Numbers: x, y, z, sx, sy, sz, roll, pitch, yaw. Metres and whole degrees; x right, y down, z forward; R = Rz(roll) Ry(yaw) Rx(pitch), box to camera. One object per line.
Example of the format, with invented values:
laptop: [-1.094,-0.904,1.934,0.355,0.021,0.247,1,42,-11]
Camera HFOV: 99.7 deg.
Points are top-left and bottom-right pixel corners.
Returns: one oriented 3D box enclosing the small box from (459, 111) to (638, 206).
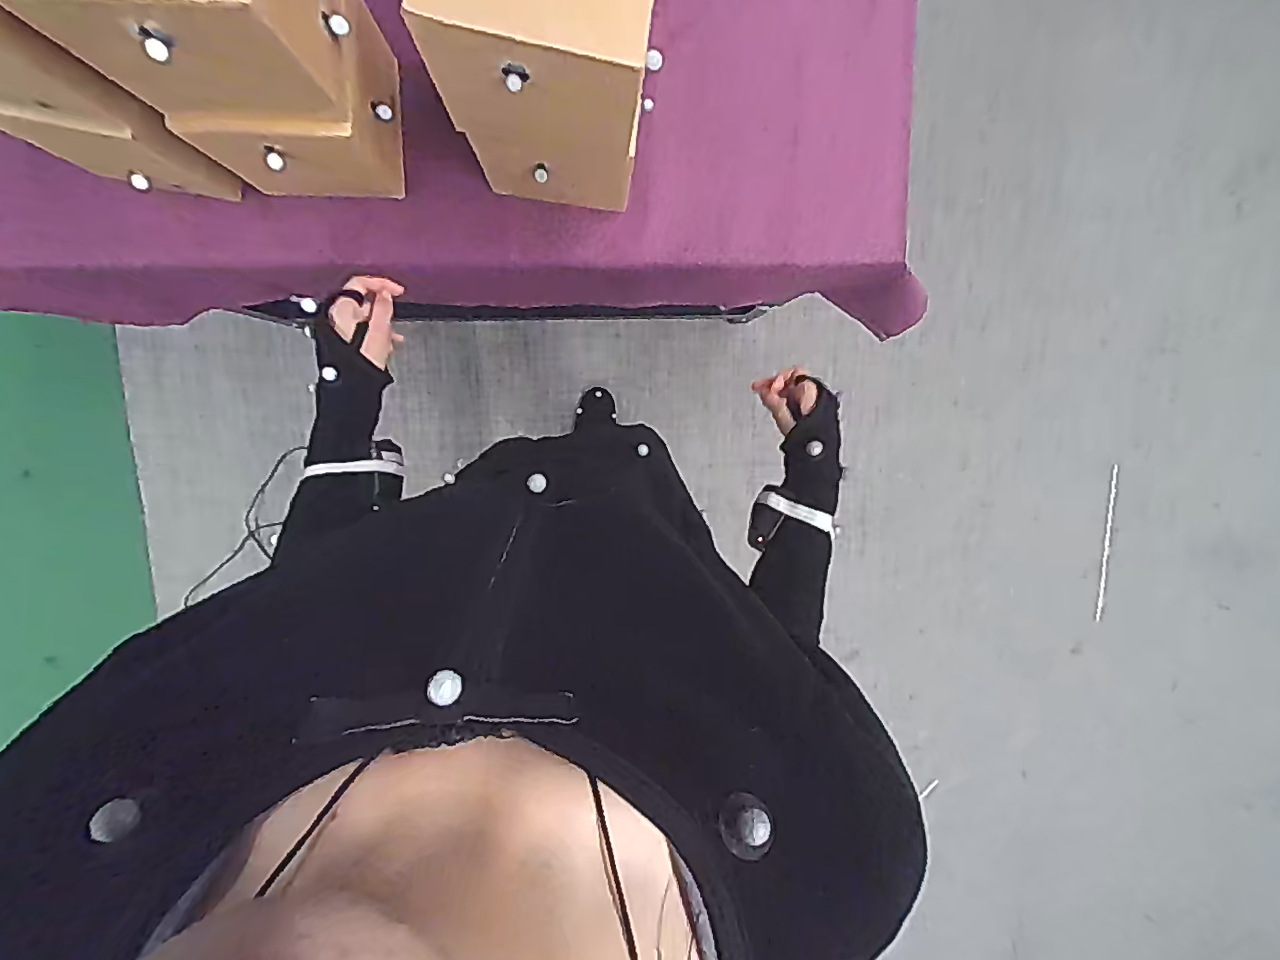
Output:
small box: [-0.091,-0.434,0.614,0.179,0.176,0.168,7,97,-6]

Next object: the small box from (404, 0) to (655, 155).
small box: [-0.076,-0.405,0.452,0.179,0.176,0.168,8,97,-8]
